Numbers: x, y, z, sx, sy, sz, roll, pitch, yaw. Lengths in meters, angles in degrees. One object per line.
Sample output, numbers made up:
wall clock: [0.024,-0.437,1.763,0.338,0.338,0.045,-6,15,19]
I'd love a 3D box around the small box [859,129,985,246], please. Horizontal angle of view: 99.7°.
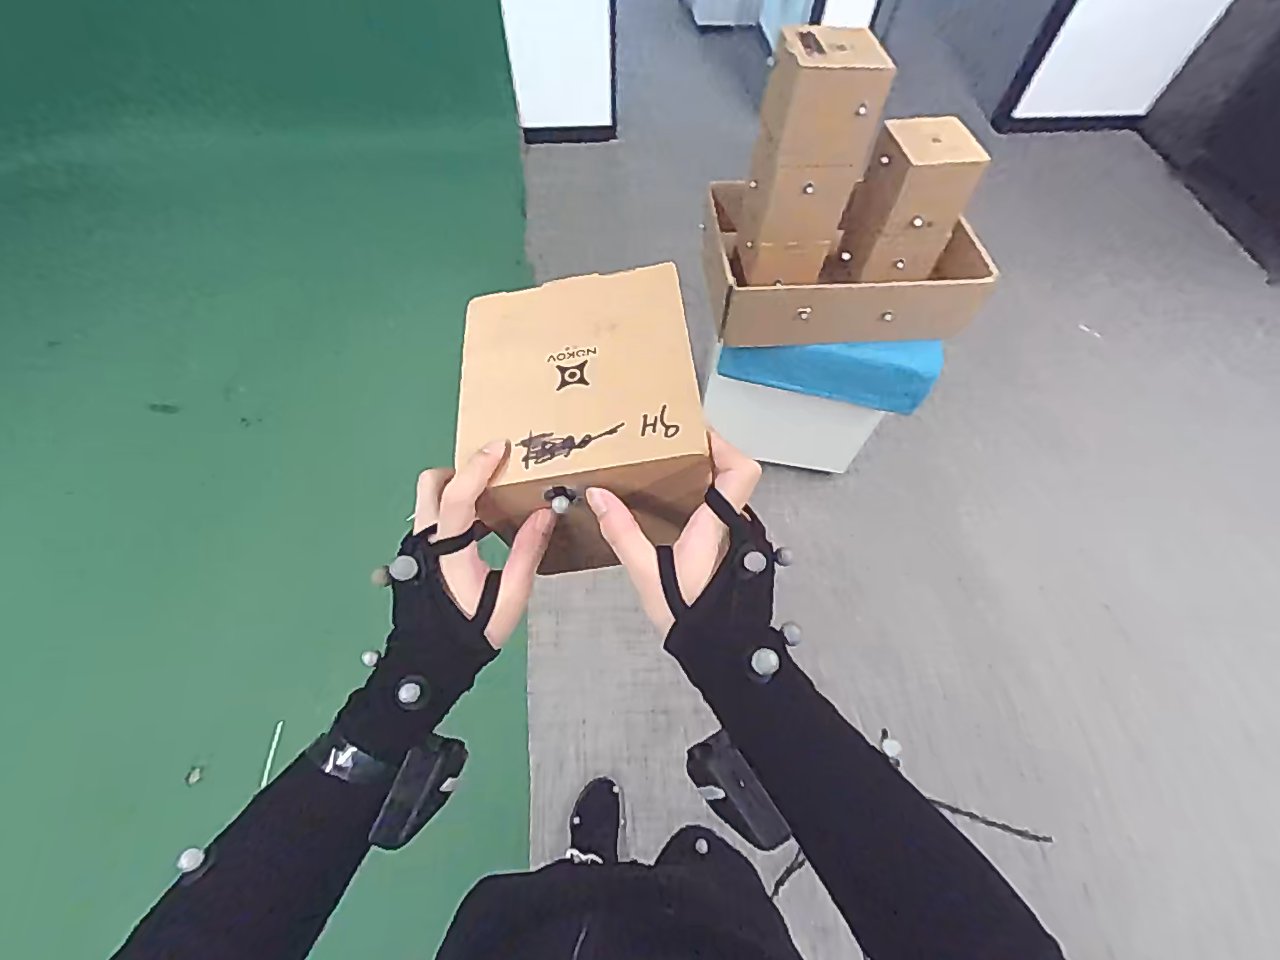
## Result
small box: [0.613,-0.651,1.206,0.168,0.176,0.179,-5,58,-3]

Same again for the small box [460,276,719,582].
small box: [-0.028,-0.033,0.449,0.168,0.176,0.179,-8,58,6]

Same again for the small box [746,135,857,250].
small box: [0.339,-0.623,1.181,0.179,0.176,0.168,-4,59,-5]
